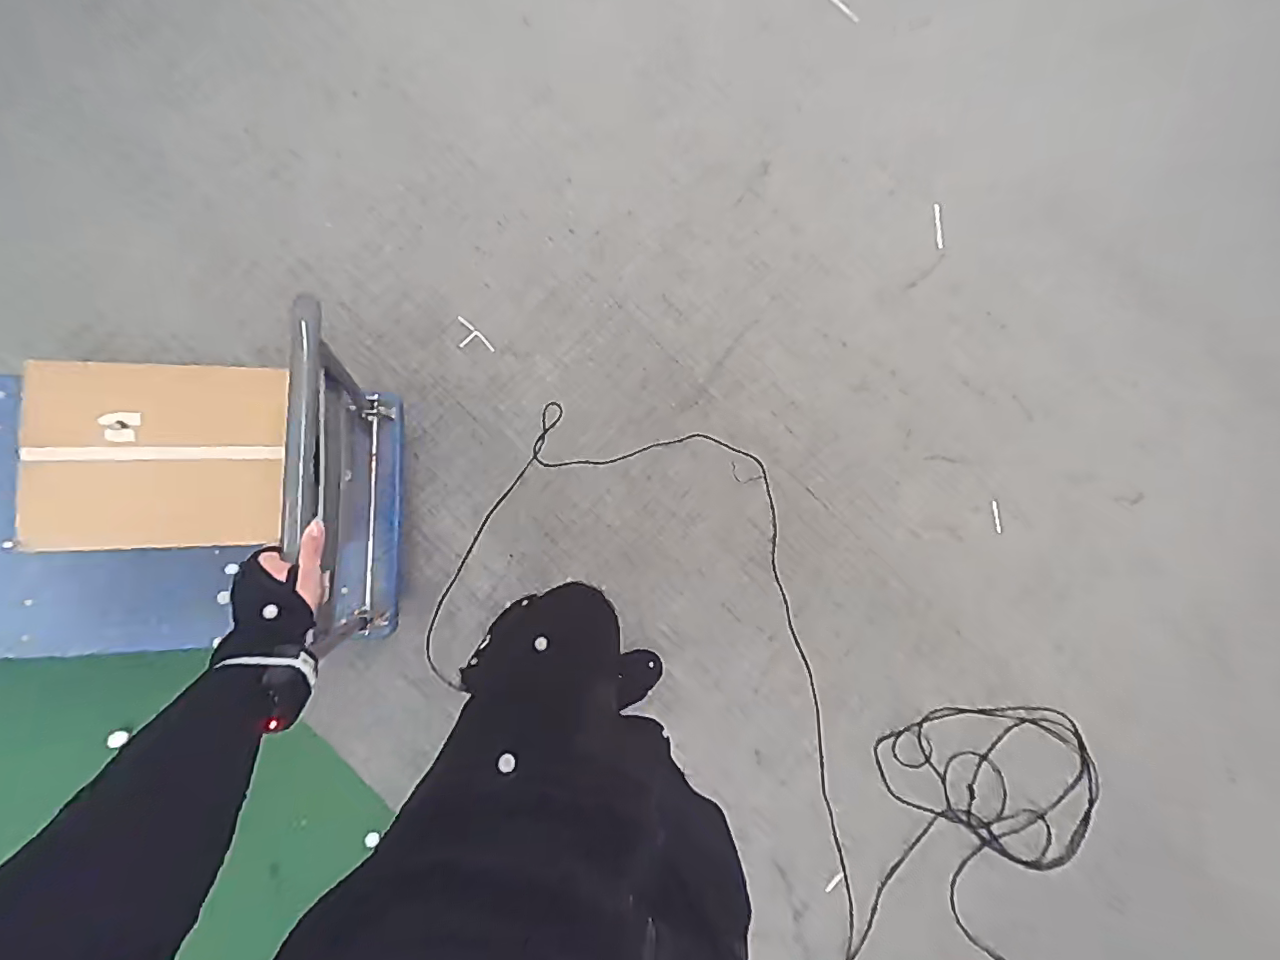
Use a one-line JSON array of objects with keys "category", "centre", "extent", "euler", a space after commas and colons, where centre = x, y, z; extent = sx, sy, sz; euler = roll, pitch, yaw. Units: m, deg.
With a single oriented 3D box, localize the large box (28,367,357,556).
[{"category": "large box", "centre": [-0.813, -0.025, 1.055], "extent": [0.408, 0.320, 0.320], "euler": [-1, 84, -13]}]
